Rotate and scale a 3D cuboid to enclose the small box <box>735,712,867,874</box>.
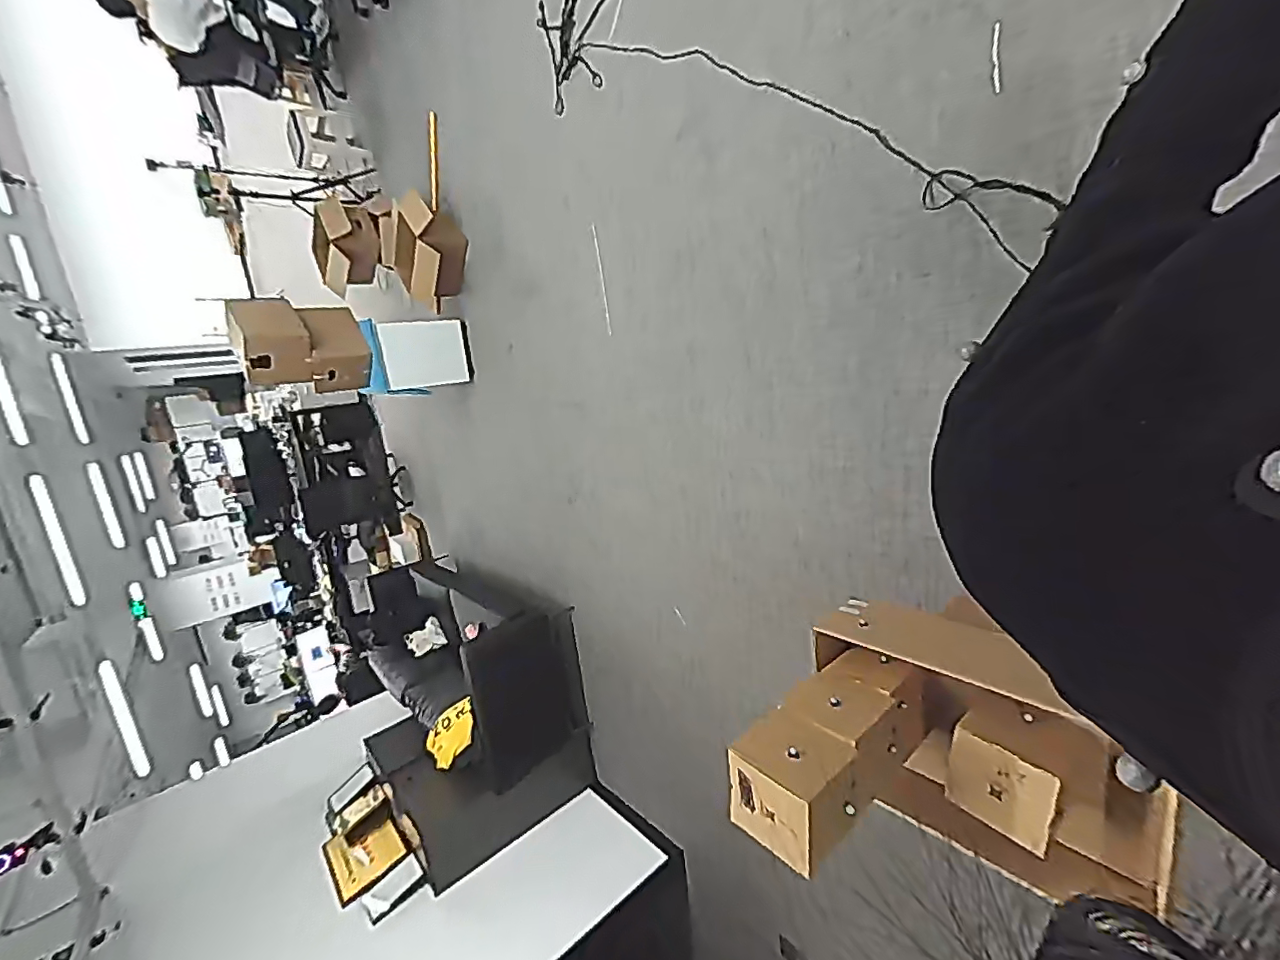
[{"bbox_3d":[0.299,0.569,1.015,0.179,0.176,0.168,13,113,49],"label":"small box"}]
